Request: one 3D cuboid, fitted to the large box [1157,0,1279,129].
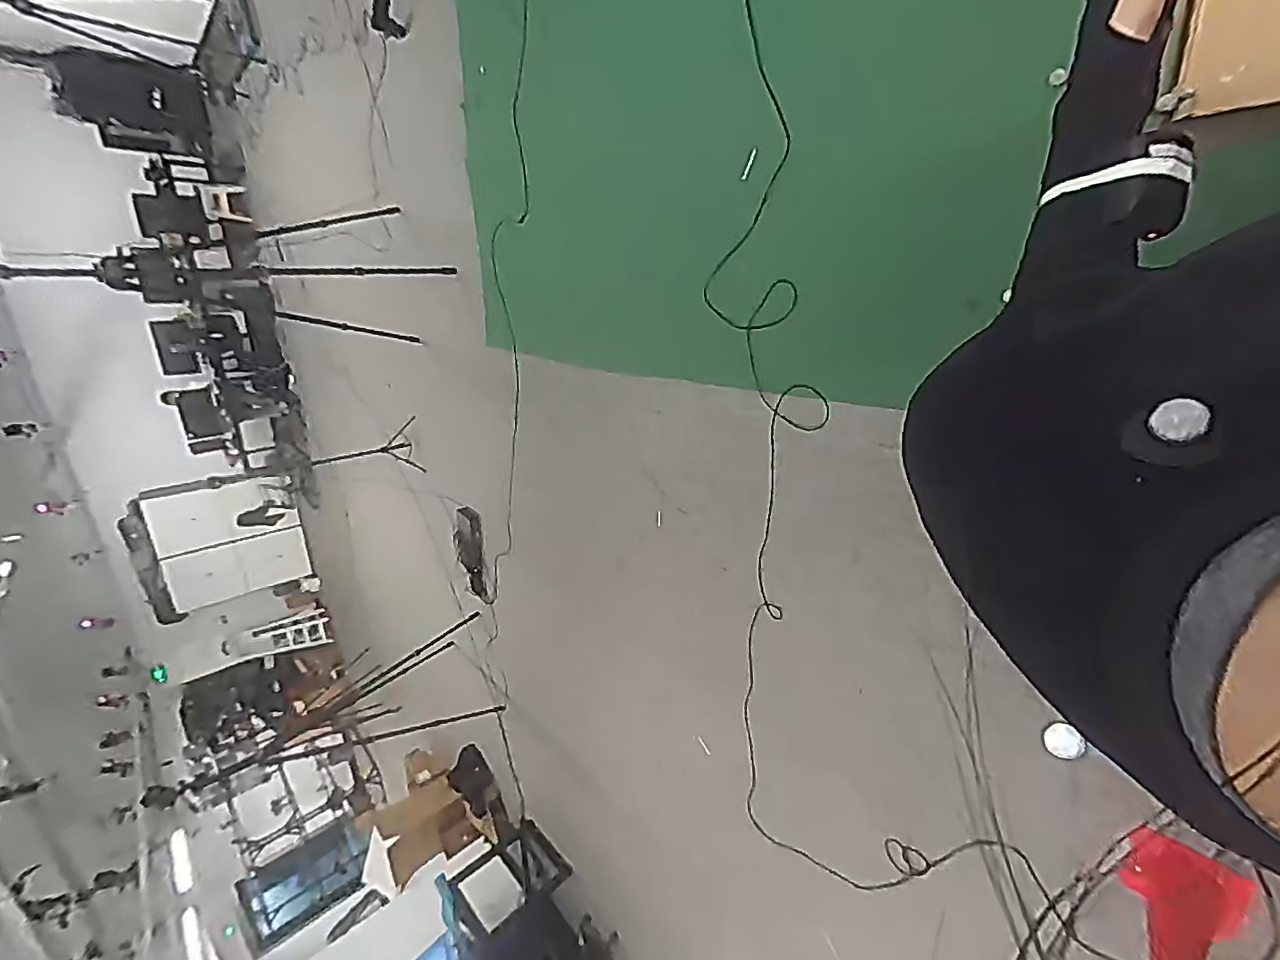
[{"bbox_3d":[0.623,-0.442,0.326,0.408,0.320,0.320,13,120,39],"label":"large box"}]
